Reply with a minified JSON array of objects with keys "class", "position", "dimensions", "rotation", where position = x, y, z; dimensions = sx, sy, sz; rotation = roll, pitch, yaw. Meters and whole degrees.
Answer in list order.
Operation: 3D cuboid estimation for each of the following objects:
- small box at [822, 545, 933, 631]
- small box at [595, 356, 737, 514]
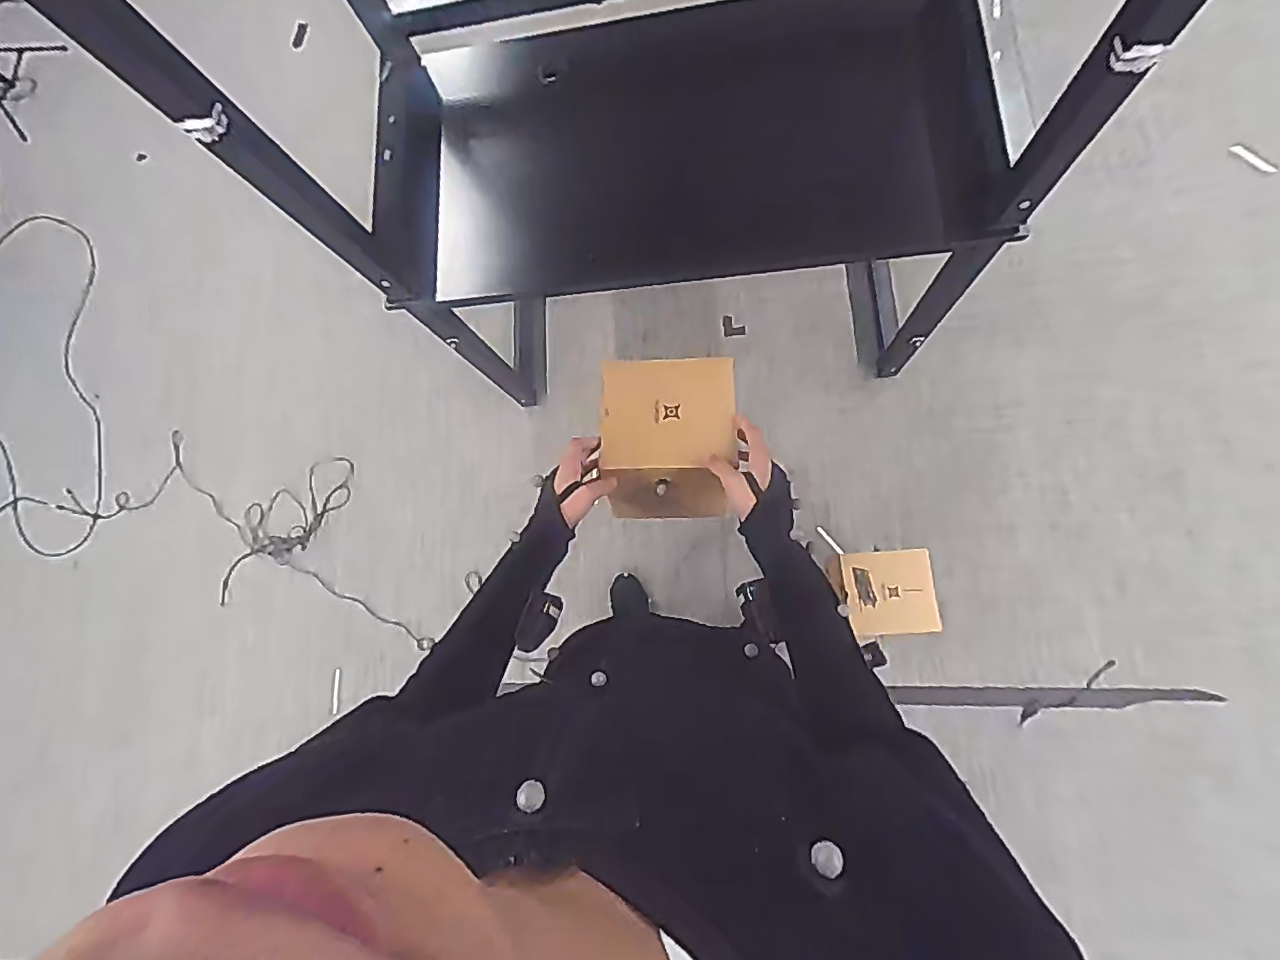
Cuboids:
[{"class":"small box","position":[0.499,0.231,1.166],"dimensions":[0.179,0.176,0.168],"rotation":[-5,81,7]},{"class":"small box","position":[0.040,-0.057,0.763],"dimensions":[0.179,0.176,0.168],"rotation":[-1,65,6]}]
